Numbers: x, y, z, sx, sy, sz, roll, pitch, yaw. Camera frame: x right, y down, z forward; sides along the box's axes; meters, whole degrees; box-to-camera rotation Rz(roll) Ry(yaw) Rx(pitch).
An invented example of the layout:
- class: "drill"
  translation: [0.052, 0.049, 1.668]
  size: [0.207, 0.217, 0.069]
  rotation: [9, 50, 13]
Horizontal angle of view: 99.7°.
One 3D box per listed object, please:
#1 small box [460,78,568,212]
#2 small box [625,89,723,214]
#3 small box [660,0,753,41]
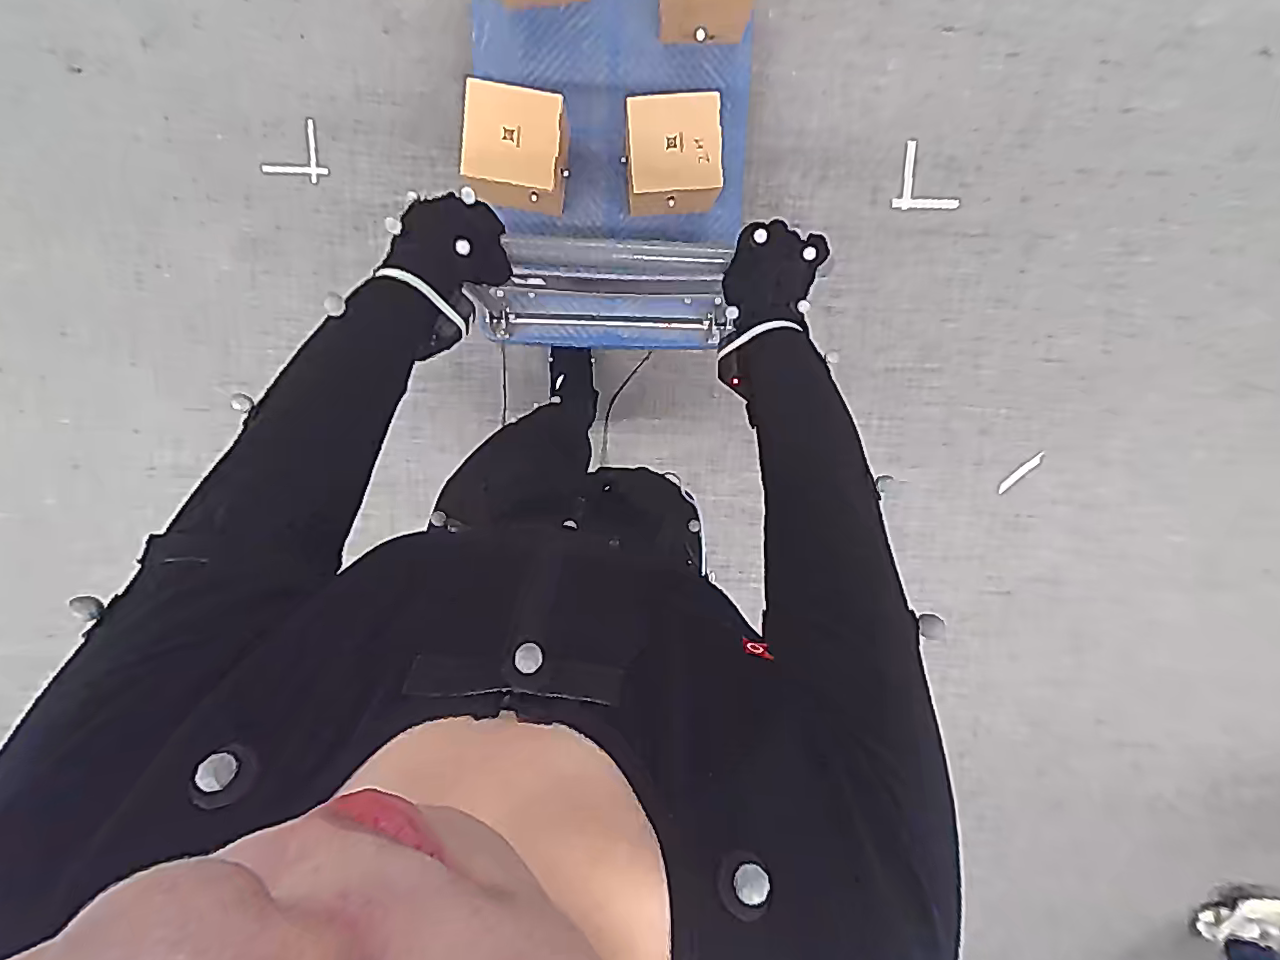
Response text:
- class: "small box"
  translation: [-0.241, -0.647, 1.067]
  size: [0.179, 0.176, 0.168]
  rotation: [6, 101, -6]
- class: "small box"
  translation: [0.063, -0.645, 1.081]
  size: [0.179, 0.176, 0.168]
  rotation: [-5, 102, -2]
- class: "small box"
  translation: [0.123, -0.972, 1.013]
  size: [0.168, 0.176, 0.179]
  rotation: [-2, 103, -2]
